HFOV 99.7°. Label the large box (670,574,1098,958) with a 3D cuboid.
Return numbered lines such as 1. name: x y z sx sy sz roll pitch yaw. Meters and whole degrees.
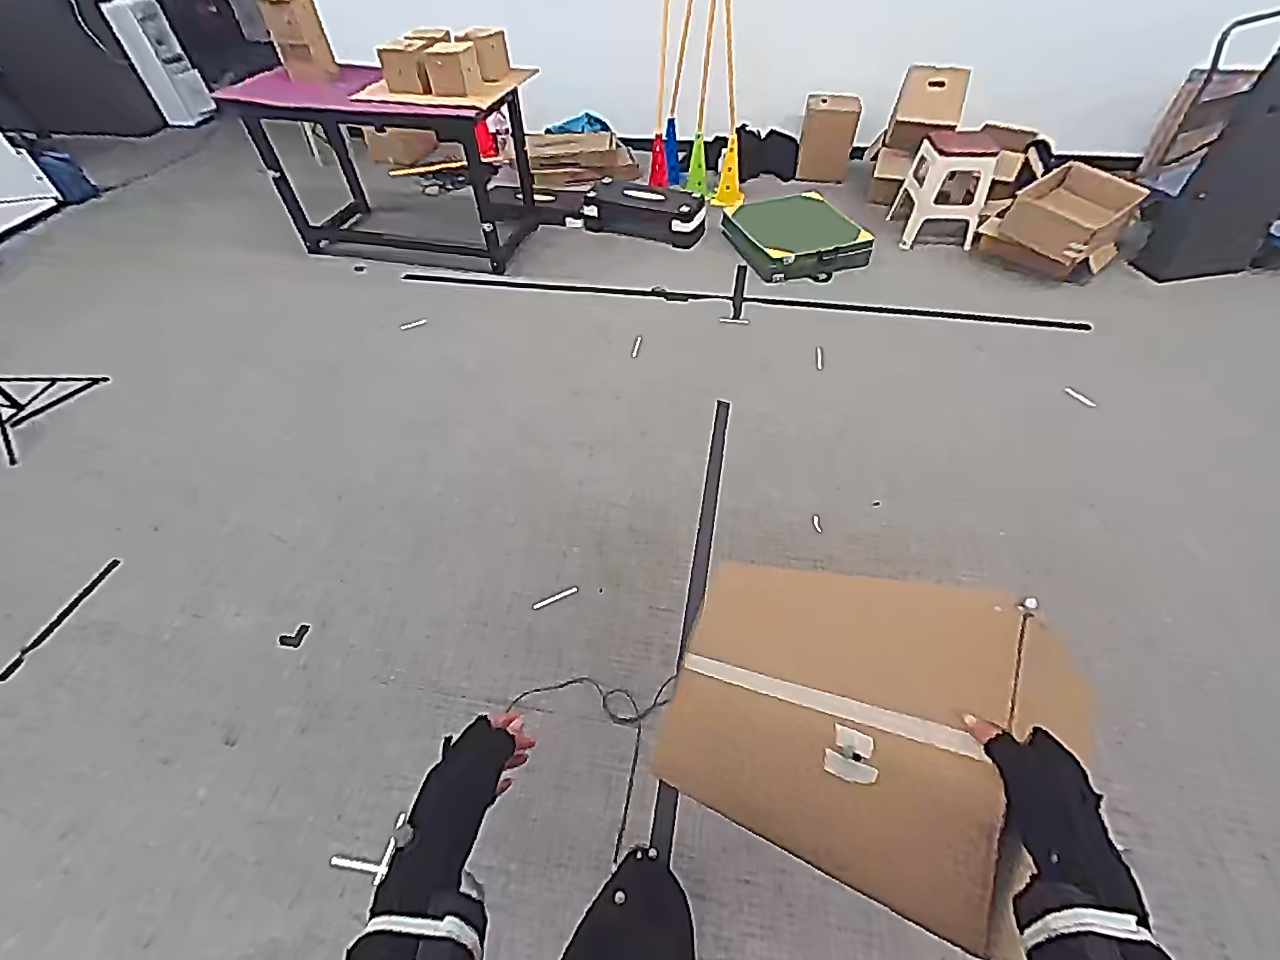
1. large box: 0.320 0.344 0.732 0.408 0.320 0.320 -5 57 51
